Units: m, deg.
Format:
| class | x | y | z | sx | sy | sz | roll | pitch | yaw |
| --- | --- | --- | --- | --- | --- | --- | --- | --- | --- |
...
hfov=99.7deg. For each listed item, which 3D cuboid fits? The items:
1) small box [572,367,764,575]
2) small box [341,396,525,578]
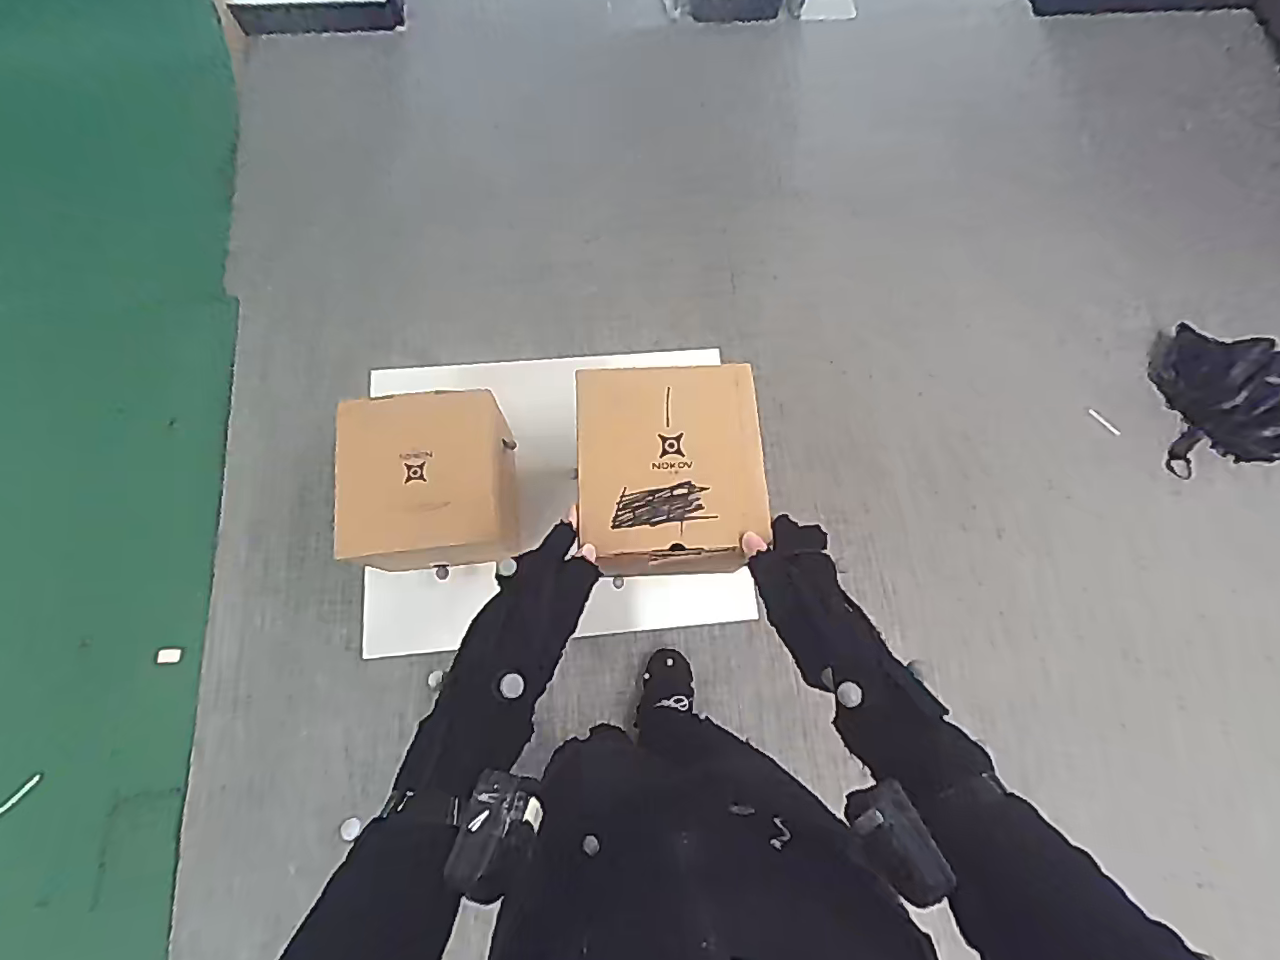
| class | x | y | z | sx | sy | sz | roll | pitch | yaw |
| --- | --- | --- | --- | --- | --- | --- | --- | --- | --- |
| small box | 0.022 | 0.003 | 0.561 | 0.168 | 0.176 | 0.179 | -3 | 73 | -2 |
| small box | -0.240 | 0.017 | 0.659 | 0.168 | 0.176 | 0.179 | -8 | 77 | -4 |
